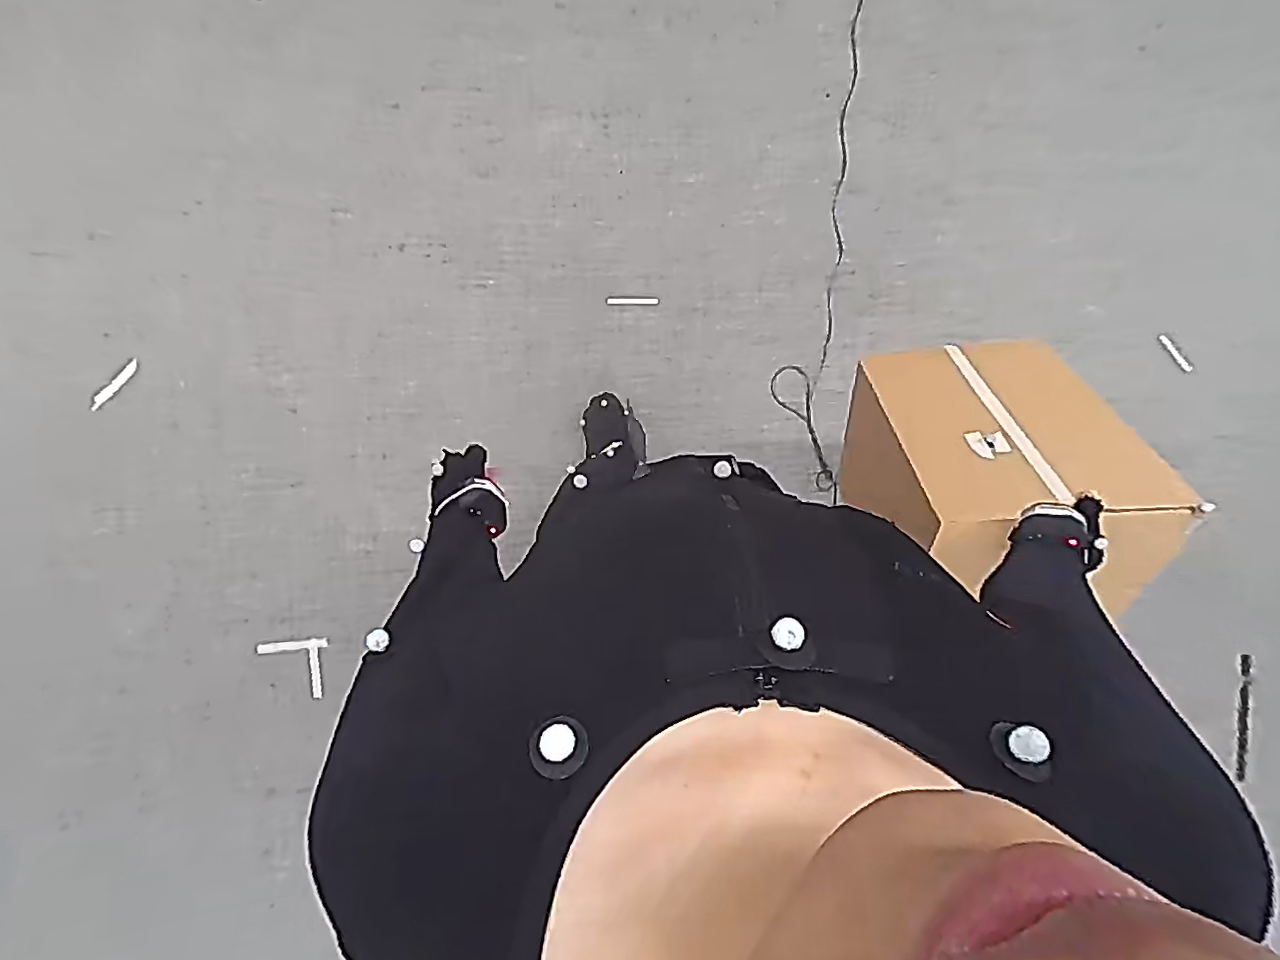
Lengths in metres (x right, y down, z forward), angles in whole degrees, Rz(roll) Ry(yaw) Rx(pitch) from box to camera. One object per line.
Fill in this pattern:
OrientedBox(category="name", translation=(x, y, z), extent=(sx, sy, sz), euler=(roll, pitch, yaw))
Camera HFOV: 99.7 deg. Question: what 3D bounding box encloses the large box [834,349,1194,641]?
OrientedBox(category="large box", translation=(0.558, 0.019, 0.931), extent=(0.320, 0.408, 0.320), euler=(-4, 134, 5))
